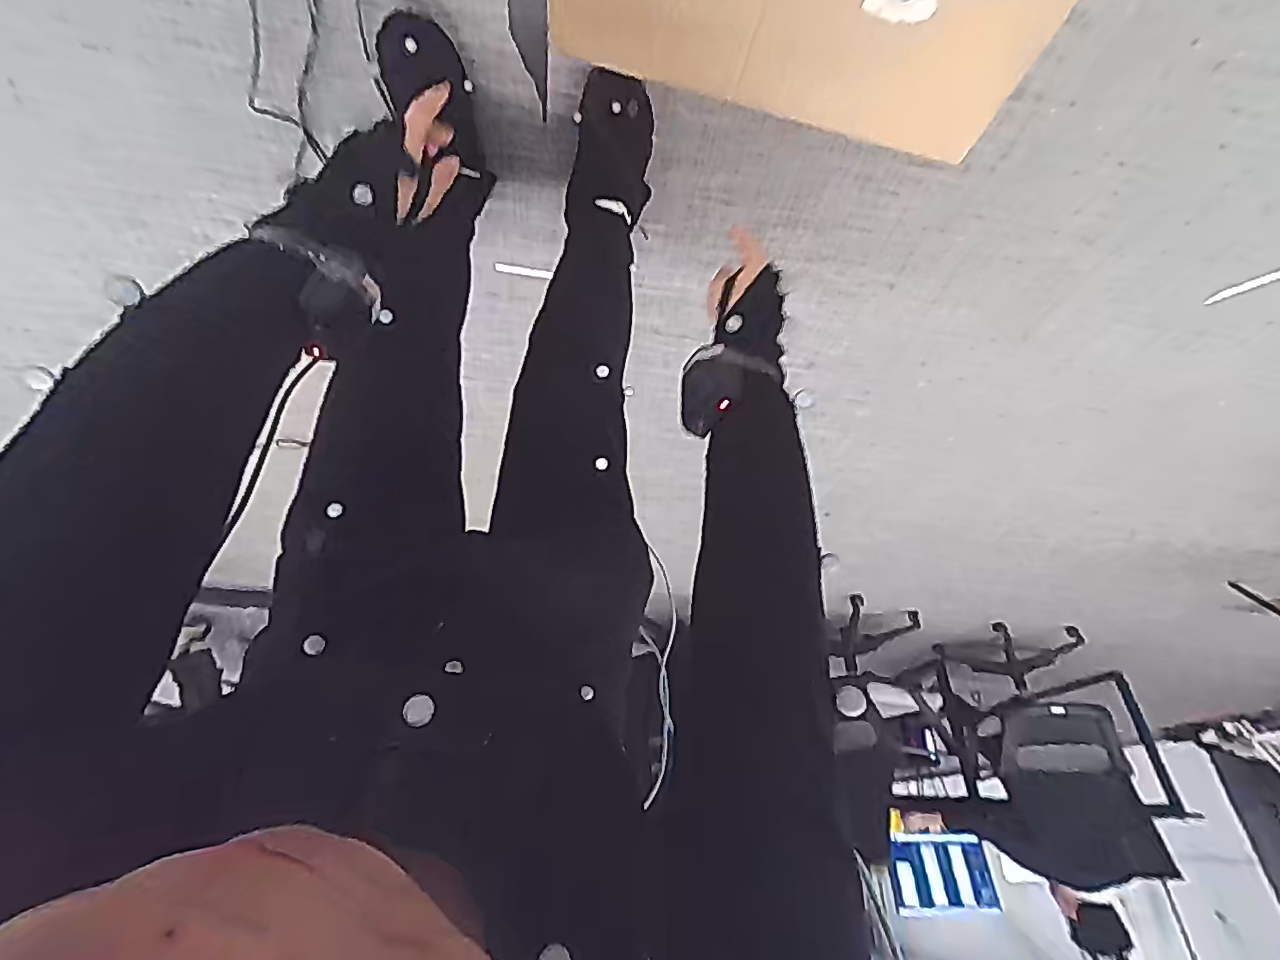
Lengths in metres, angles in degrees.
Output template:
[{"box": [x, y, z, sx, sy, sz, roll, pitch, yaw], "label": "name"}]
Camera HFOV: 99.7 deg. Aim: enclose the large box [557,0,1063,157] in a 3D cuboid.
[{"box": [0.150, -0.547, 0.460, 0.408, 0.320, 0.320, 7, 147, -11], "label": "large box"}]
